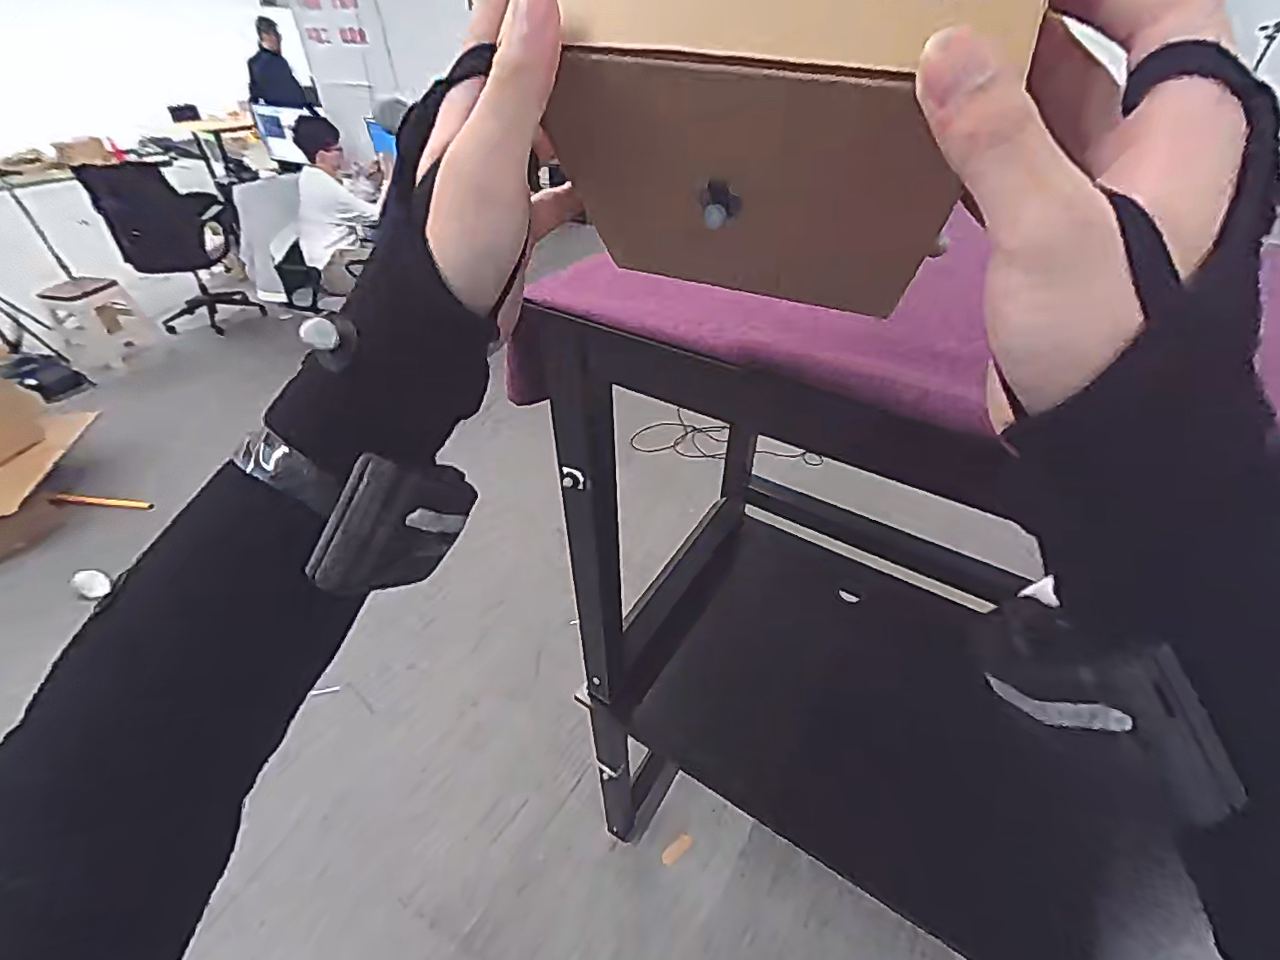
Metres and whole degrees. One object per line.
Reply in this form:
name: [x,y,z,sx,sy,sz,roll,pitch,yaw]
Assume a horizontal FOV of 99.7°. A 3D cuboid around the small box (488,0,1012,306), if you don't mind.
small box: [0.064,-0.204,0.264,0.179,0.176,0.168,16,87,15]
